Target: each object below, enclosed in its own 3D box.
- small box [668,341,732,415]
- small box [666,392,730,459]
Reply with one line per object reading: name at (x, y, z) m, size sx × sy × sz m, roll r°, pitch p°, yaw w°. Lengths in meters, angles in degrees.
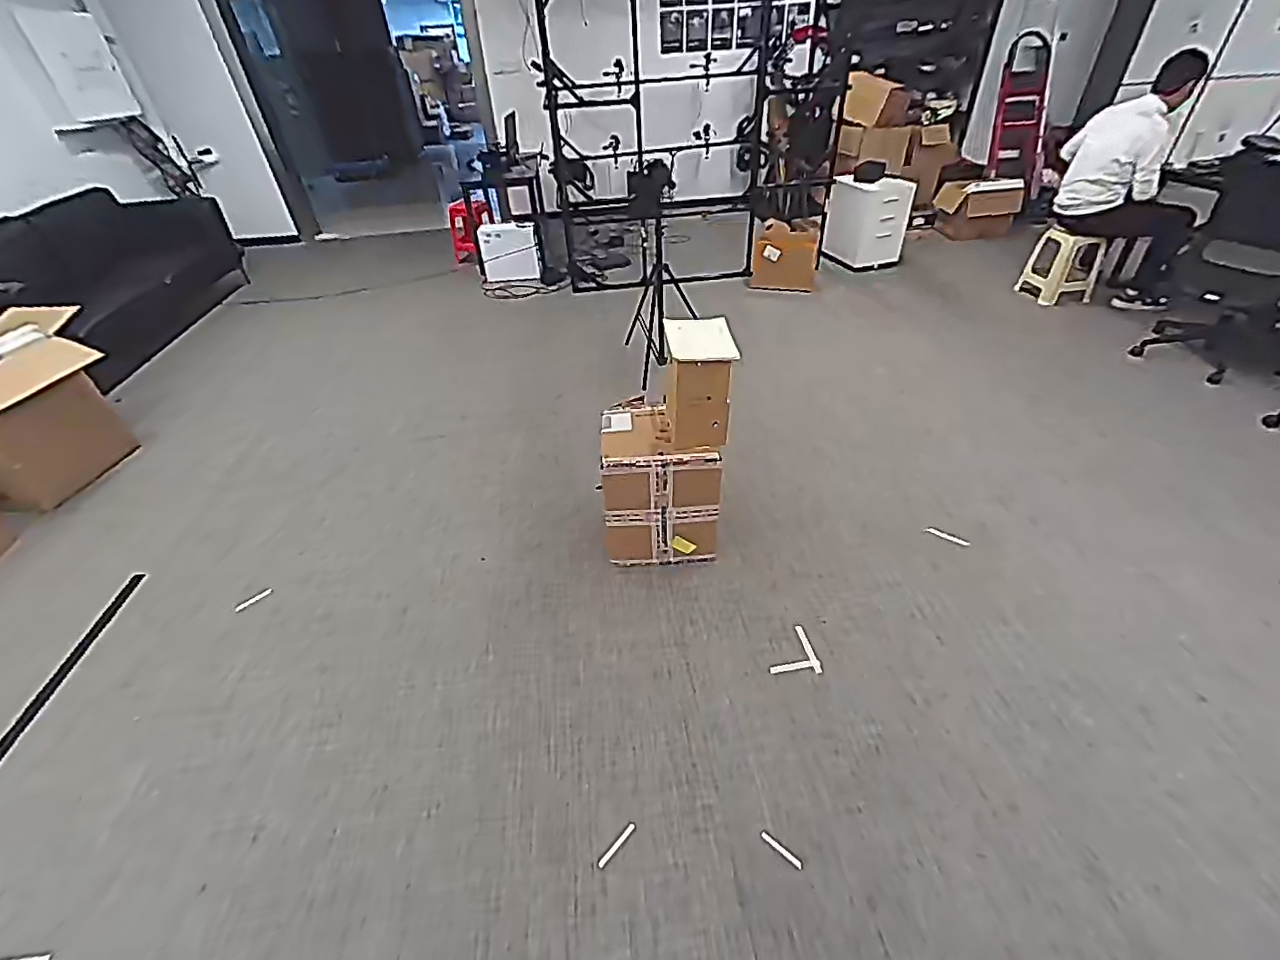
small box at (0.179, -0.318, 1.682) m, size 0.168 × 0.176 × 0.179 m, roll -5°, pitch 40°, yaw -4°
small box at (0.185, -0.187, 1.779) m, size 0.179 × 0.176 × 0.168 m, roll -7°, pitch 40°, yaw -6°
